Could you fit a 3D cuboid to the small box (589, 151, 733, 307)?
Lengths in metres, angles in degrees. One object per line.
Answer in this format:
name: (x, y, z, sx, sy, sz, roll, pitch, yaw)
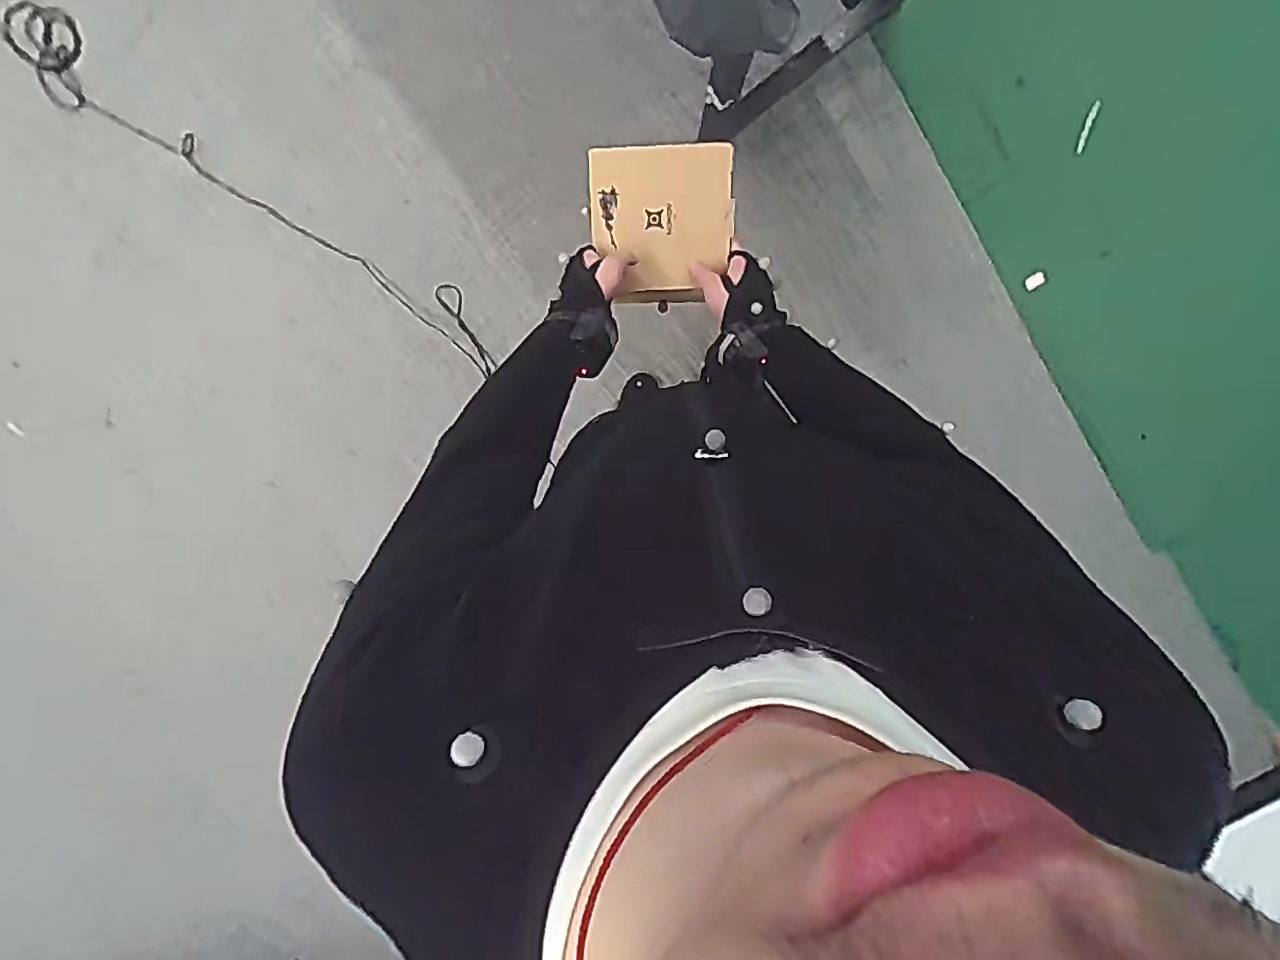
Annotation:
small box: (0.026, -0.333, 0.743, 0.179, 0.176, 0.168, -1, 102, 1)
